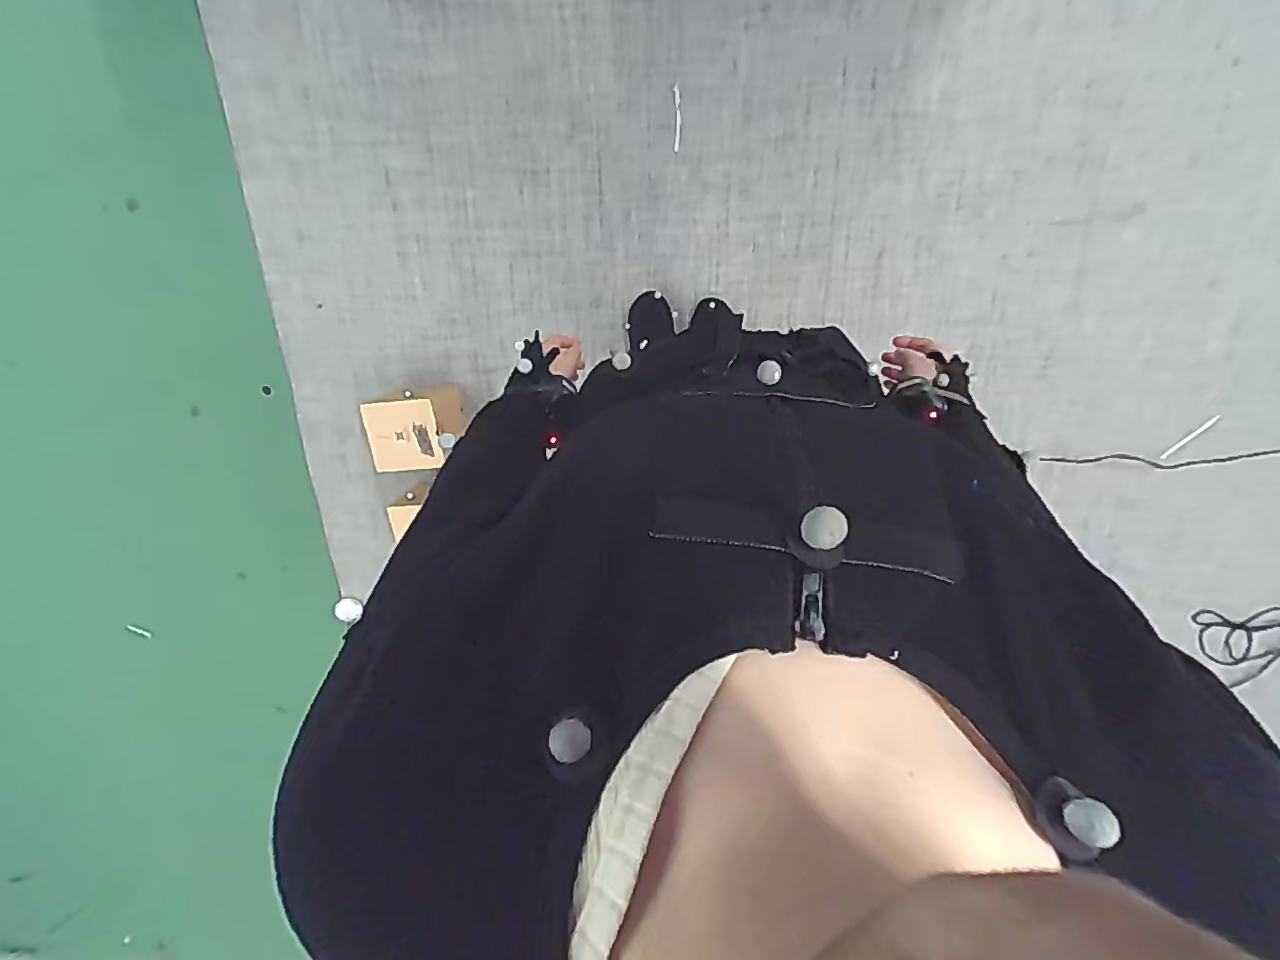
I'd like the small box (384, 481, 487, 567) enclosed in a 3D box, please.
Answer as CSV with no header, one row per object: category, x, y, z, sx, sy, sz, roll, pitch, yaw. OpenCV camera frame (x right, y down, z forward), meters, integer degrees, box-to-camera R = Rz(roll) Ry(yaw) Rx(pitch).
small box,-0.518,0.110,1.392,0.179,0.176,0.168,-5,109,6

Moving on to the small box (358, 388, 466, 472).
small box,-0.540,-0.125,1.313,0.179,0.176,0.168,-4,108,6
